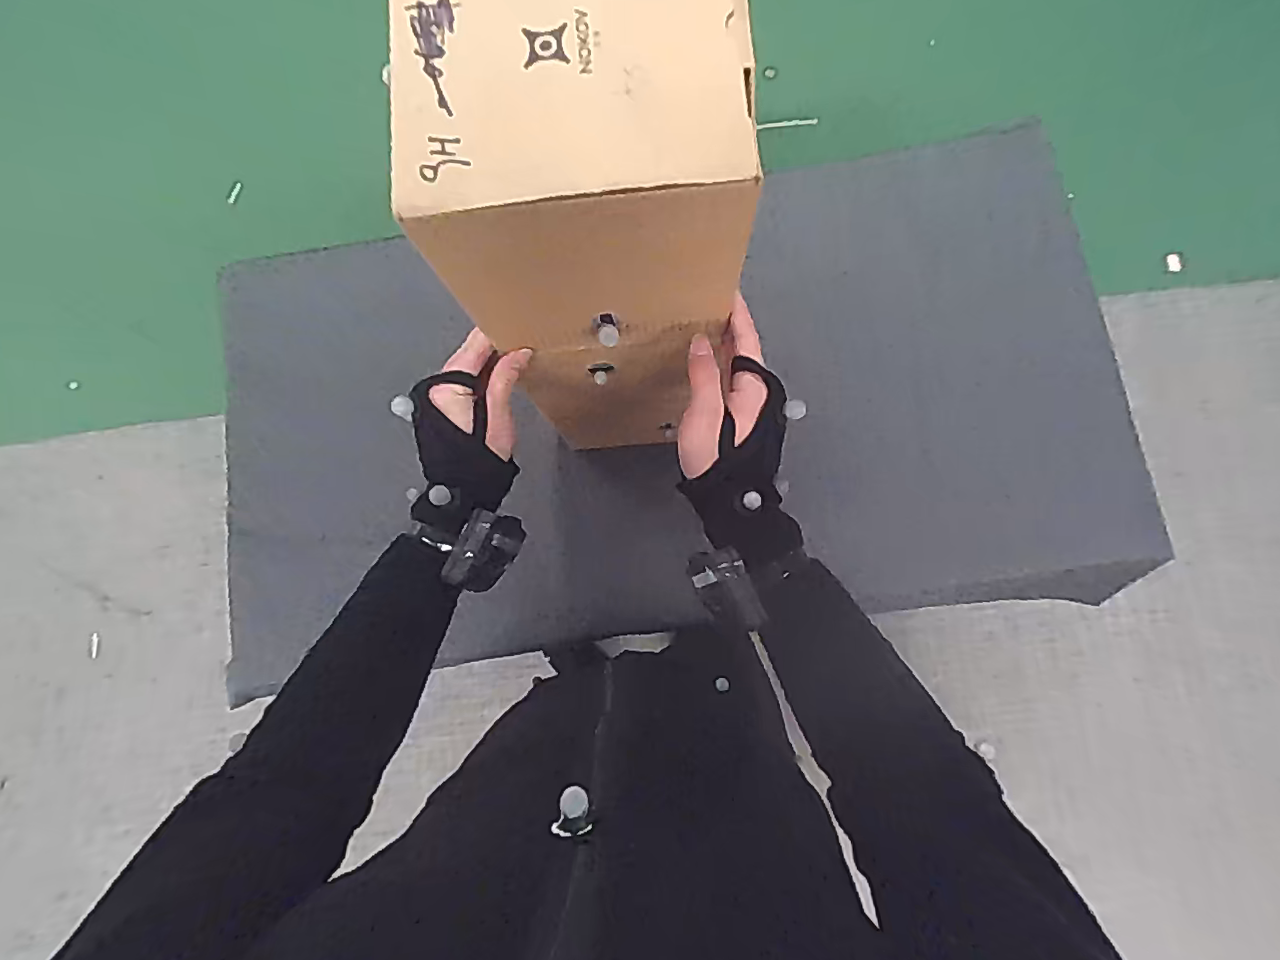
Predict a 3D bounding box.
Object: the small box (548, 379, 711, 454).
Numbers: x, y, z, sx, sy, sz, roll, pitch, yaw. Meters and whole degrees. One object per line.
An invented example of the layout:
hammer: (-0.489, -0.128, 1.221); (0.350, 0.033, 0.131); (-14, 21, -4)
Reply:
small box: (-0.013, -0.134, 0.664); (0.179, 0.176, 0.168); (-6, 79, 4)

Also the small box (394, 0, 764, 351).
small box: (-0.032, -0.196, 0.343); (0.179, 0.176, 0.168); (-5, 79, 2)

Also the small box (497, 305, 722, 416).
small box: (-0.025, -0.165, 0.503); (0.179, 0.176, 0.168); (-5, 79, 1)
